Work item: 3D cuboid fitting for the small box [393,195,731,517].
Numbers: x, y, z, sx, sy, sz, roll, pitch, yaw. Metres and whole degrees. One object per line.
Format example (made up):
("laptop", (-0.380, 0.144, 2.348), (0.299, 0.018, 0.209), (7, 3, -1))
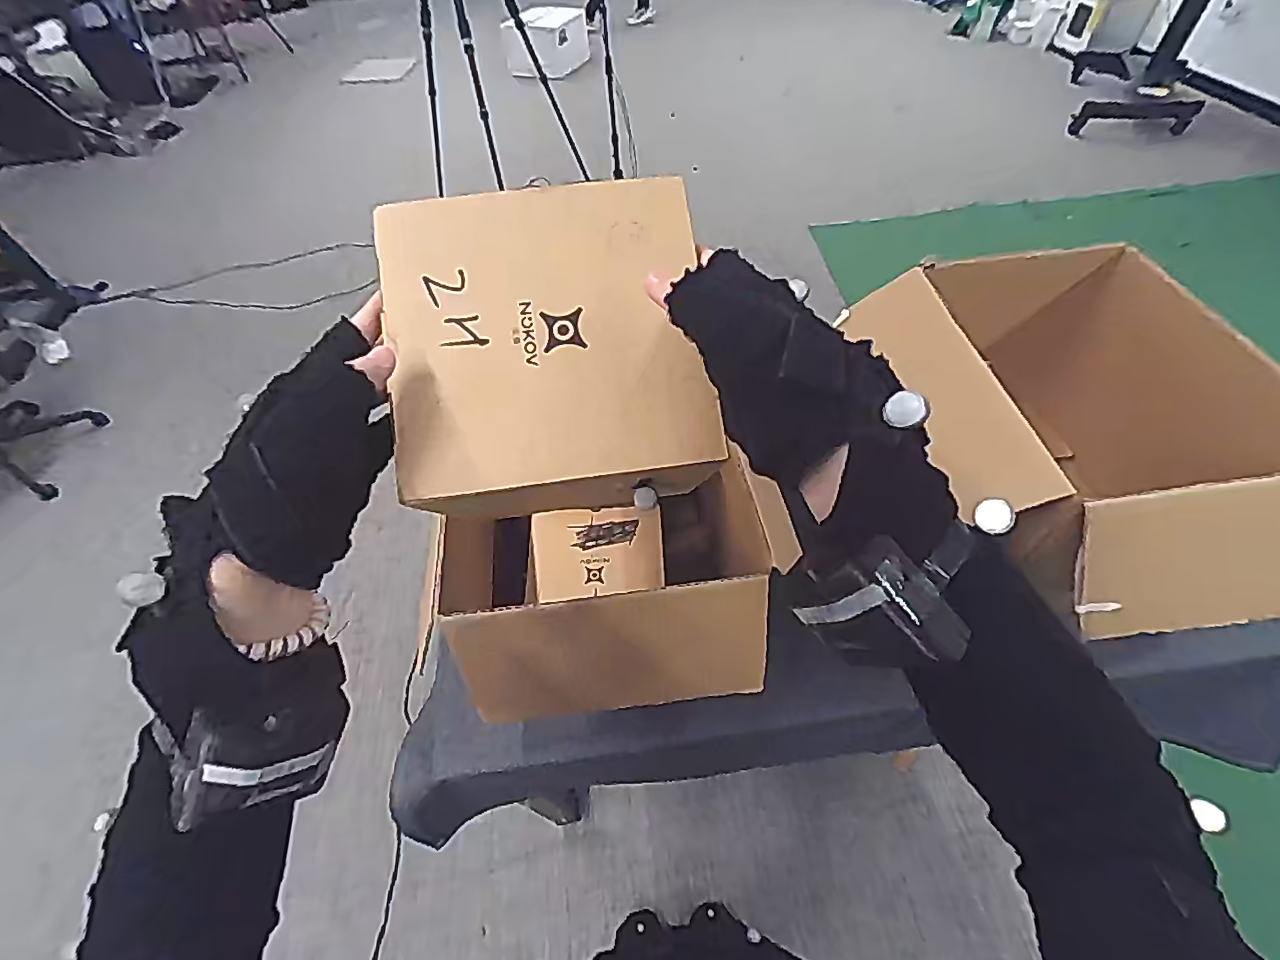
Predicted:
("small box", (-0.049, -0.067, 0.378), (0.179, 0.176, 0.168), (-7, 83, -4))
